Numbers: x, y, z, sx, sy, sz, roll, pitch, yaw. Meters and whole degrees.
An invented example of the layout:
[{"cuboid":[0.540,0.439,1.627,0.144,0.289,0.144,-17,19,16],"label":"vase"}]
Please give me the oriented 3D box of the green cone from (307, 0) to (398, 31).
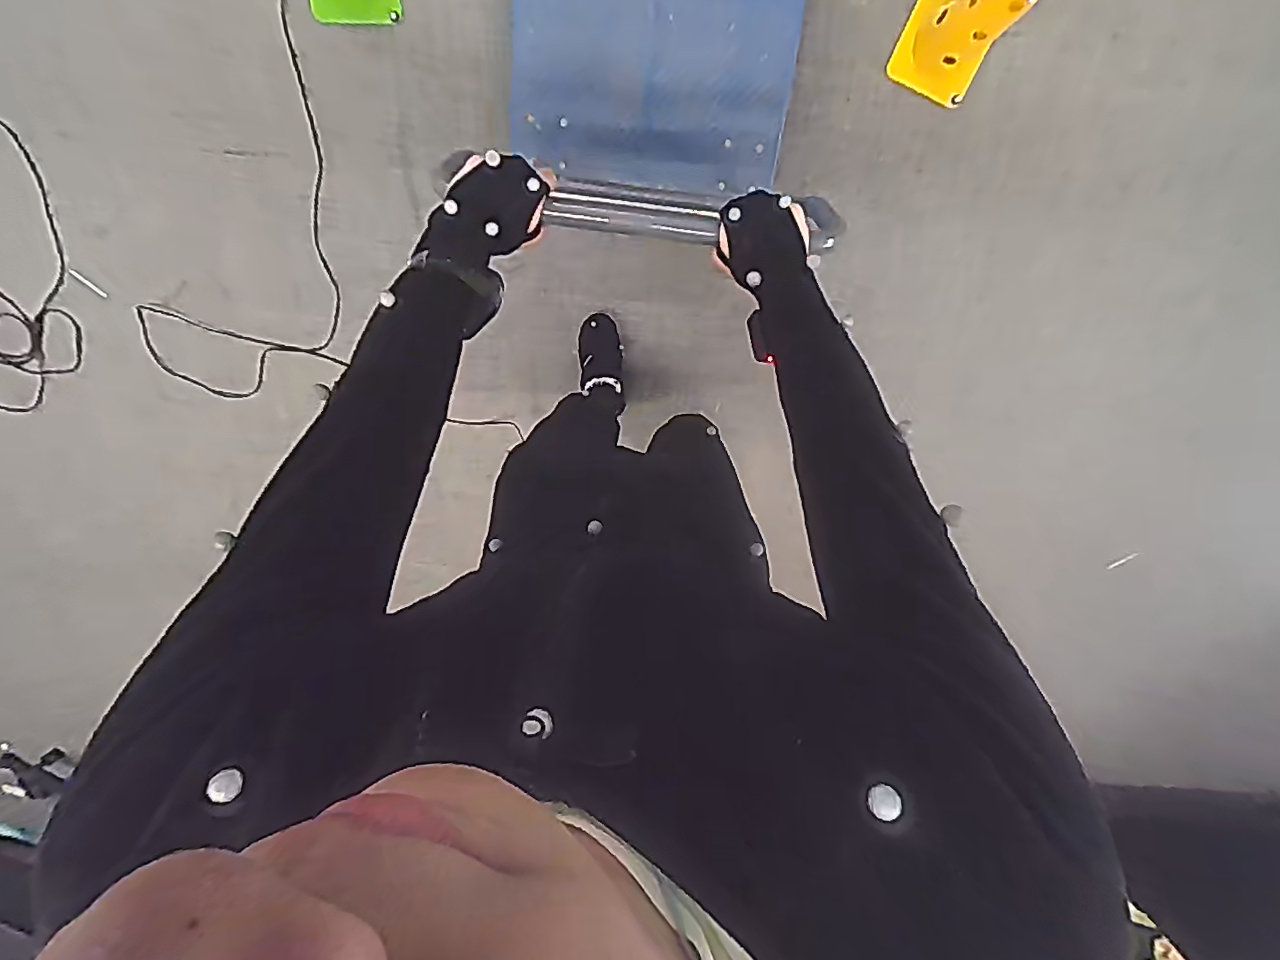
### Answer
[{"cuboid":[-0.639,-1.035,1.014,0.202,0.368,0.200,1,113,1],"label":"green cone"}]
